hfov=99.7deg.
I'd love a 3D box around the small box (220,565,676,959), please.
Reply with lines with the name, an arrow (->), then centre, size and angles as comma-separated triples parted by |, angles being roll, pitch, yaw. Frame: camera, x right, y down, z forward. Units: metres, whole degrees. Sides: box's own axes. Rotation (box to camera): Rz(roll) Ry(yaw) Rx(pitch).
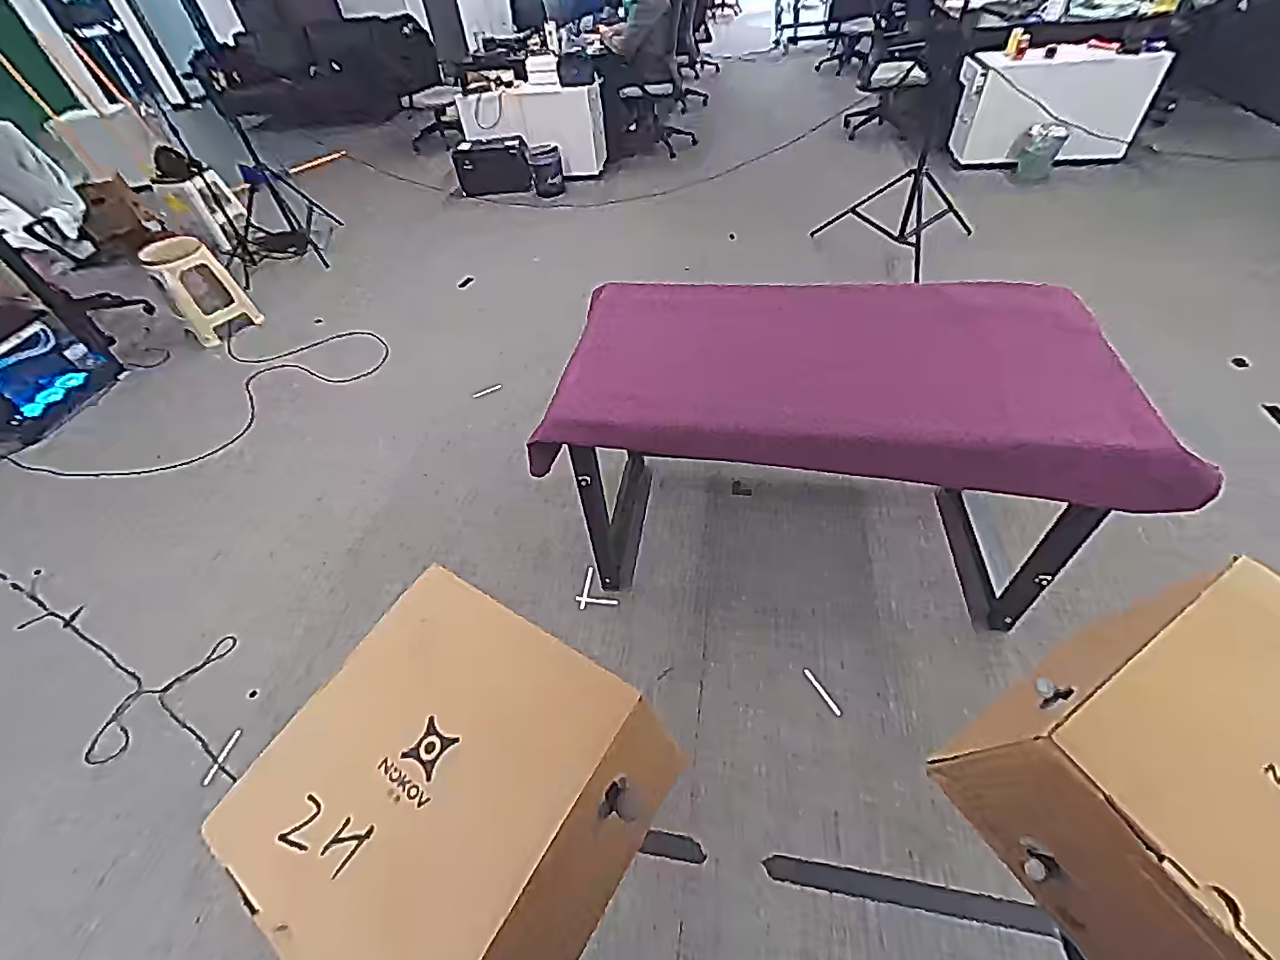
small box -> -0.090, 0.191, 0.340 | 0.168, 0.176, 0.179 | 22, 62, 28

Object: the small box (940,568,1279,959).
small box -> 0.325, 0.188, 0.324 | 0.179, 0.176, 0.168 | -31, 61, -14
